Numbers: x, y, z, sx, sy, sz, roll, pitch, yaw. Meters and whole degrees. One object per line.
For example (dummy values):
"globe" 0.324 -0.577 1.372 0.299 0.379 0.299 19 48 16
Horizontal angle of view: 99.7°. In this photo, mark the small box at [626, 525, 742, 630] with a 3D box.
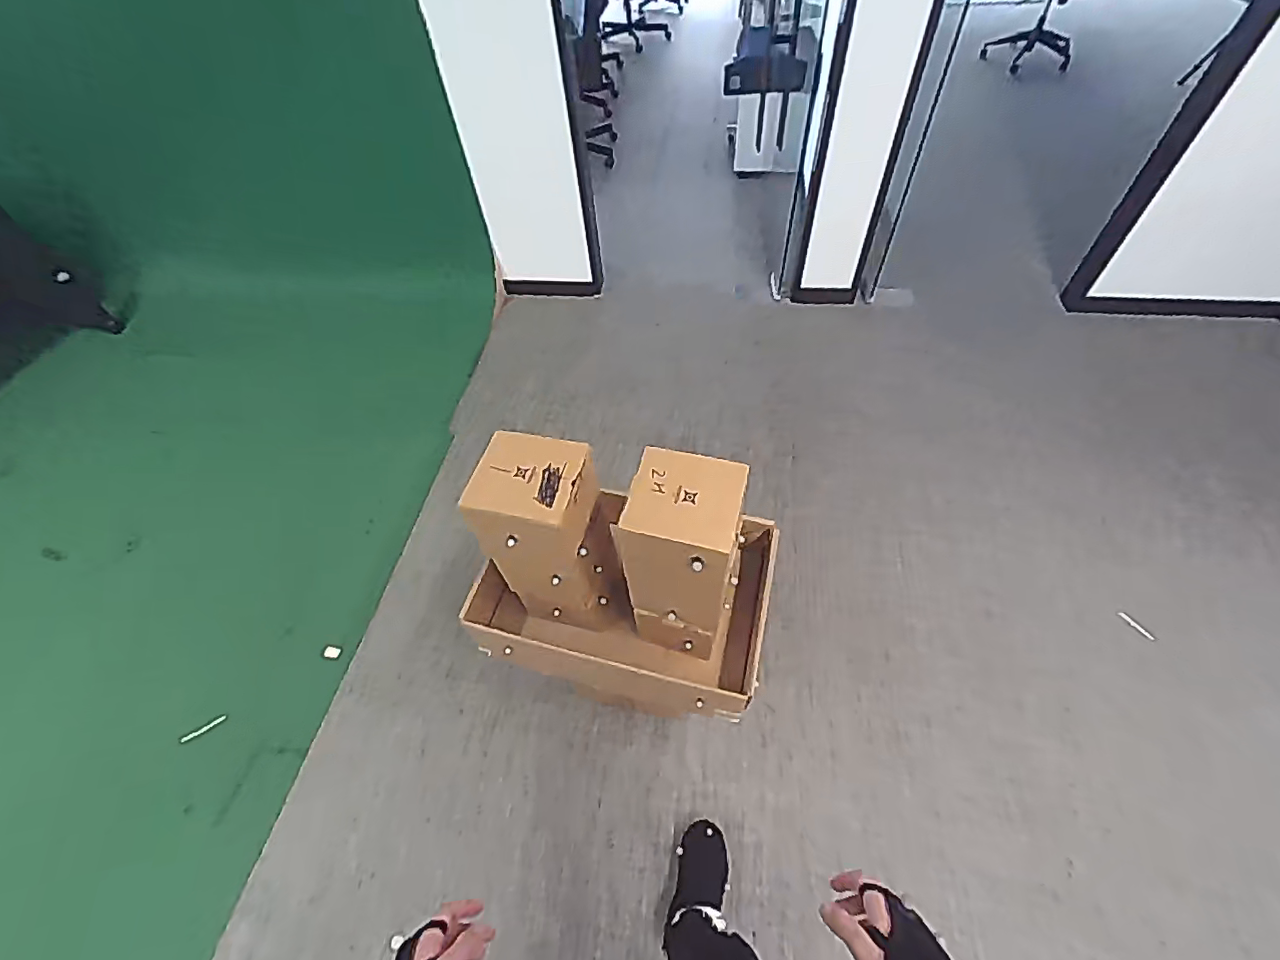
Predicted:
"small box" 0.086 0.172 1.042 0.179 0.176 0.168 14 57 14

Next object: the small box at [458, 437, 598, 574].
"small box" -0.183 0.050 0.955 0.179 0.176 0.168 9 56 12

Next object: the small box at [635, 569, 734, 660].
"small box" 0.102 0.266 1.173 0.168 0.176 0.179 14 57 15

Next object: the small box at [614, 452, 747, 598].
"small box" 0.072 0.080 0.904 0.179 0.176 0.168 11 56 13
